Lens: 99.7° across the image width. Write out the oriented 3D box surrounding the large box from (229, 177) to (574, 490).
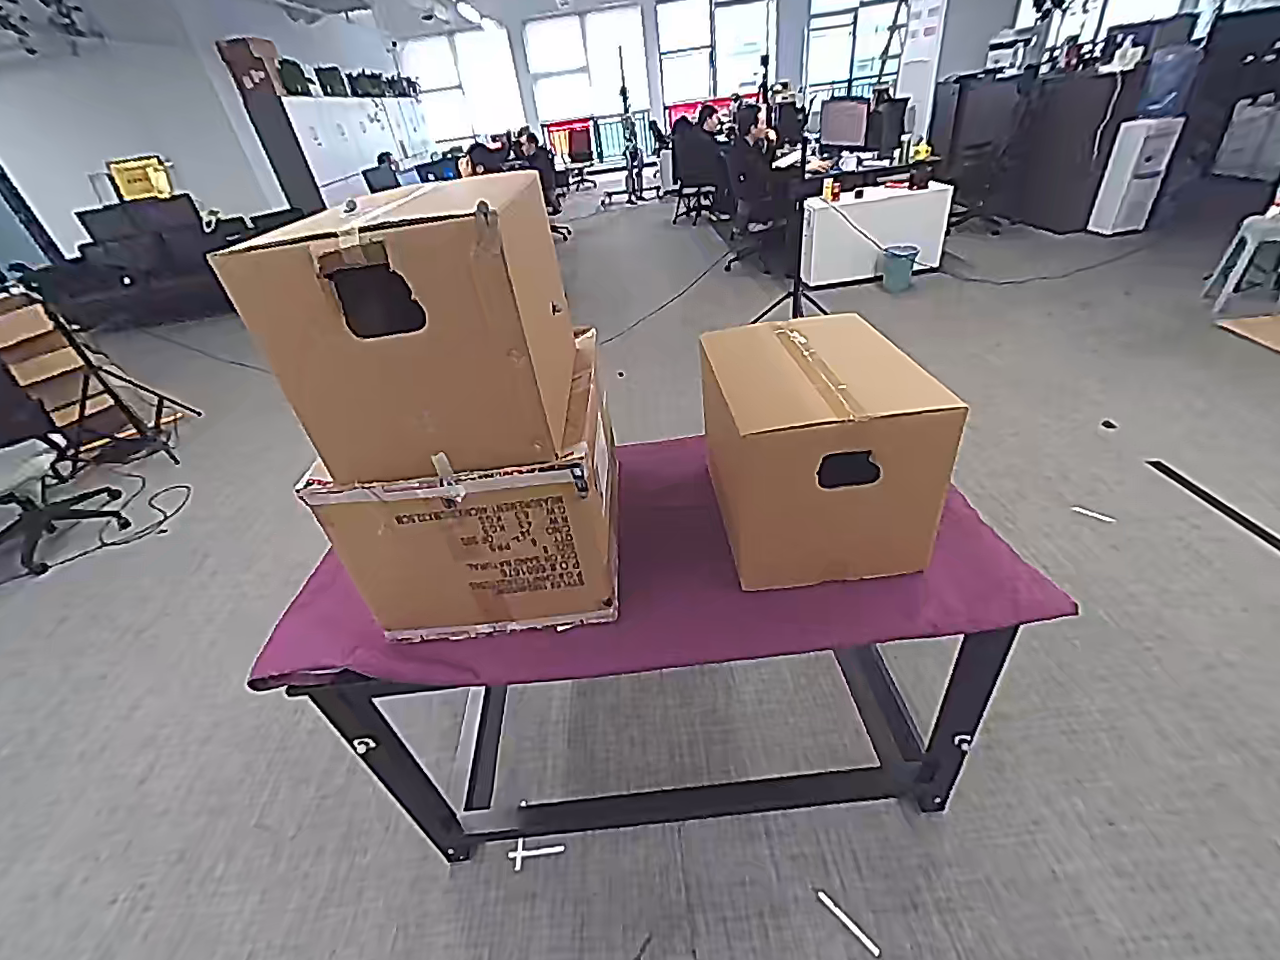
[{"bbox_3d":[-0.281,-0.239,0.811,0.320,0.320,0.408,-9,35,2],"label":"large box"}]
